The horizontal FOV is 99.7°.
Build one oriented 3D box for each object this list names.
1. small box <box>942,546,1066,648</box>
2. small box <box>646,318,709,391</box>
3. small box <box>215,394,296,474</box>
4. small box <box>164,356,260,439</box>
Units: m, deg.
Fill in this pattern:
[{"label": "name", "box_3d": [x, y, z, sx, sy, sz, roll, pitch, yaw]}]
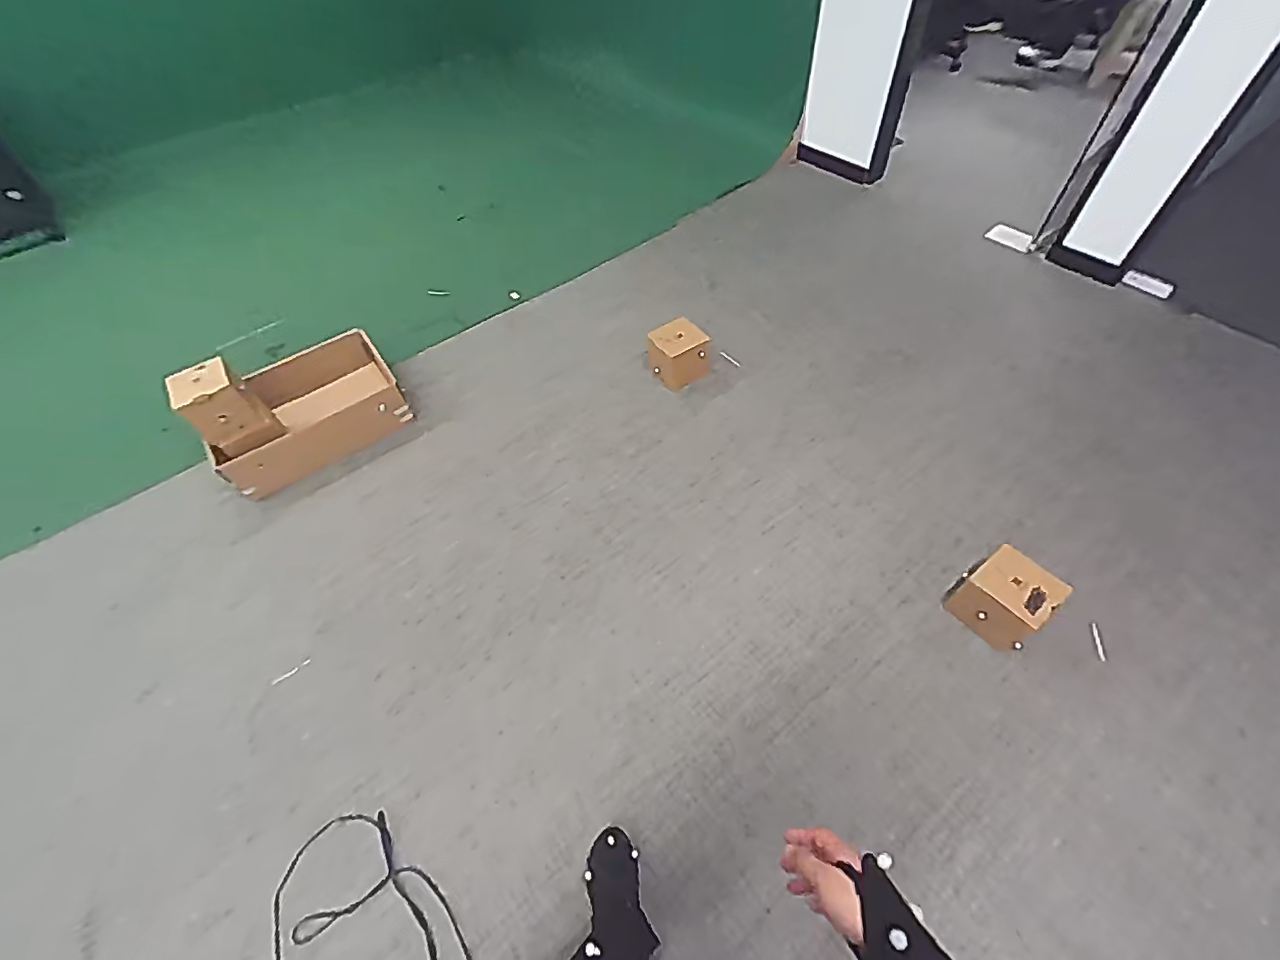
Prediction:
[{"label": "small box", "box_3d": [0.934, 0.312, 1.403, 0.168, 0.176, 0.179, -33, 58, -18]}, {"label": "small box", "box_3d": [0.138, -0.465, 2.017, 0.179, 0.176, 0.168, -29, 57, -16]}, {"label": "small box", "box_3d": [-1.319, -0.154, 1.838, 0.168, 0.176, 0.179, -36, 61, -19]}, {"label": "small box", "box_3d": [-1.344, -0.251, 1.708, 0.168, 0.176, 0.179, -31, 59, -17]}]
